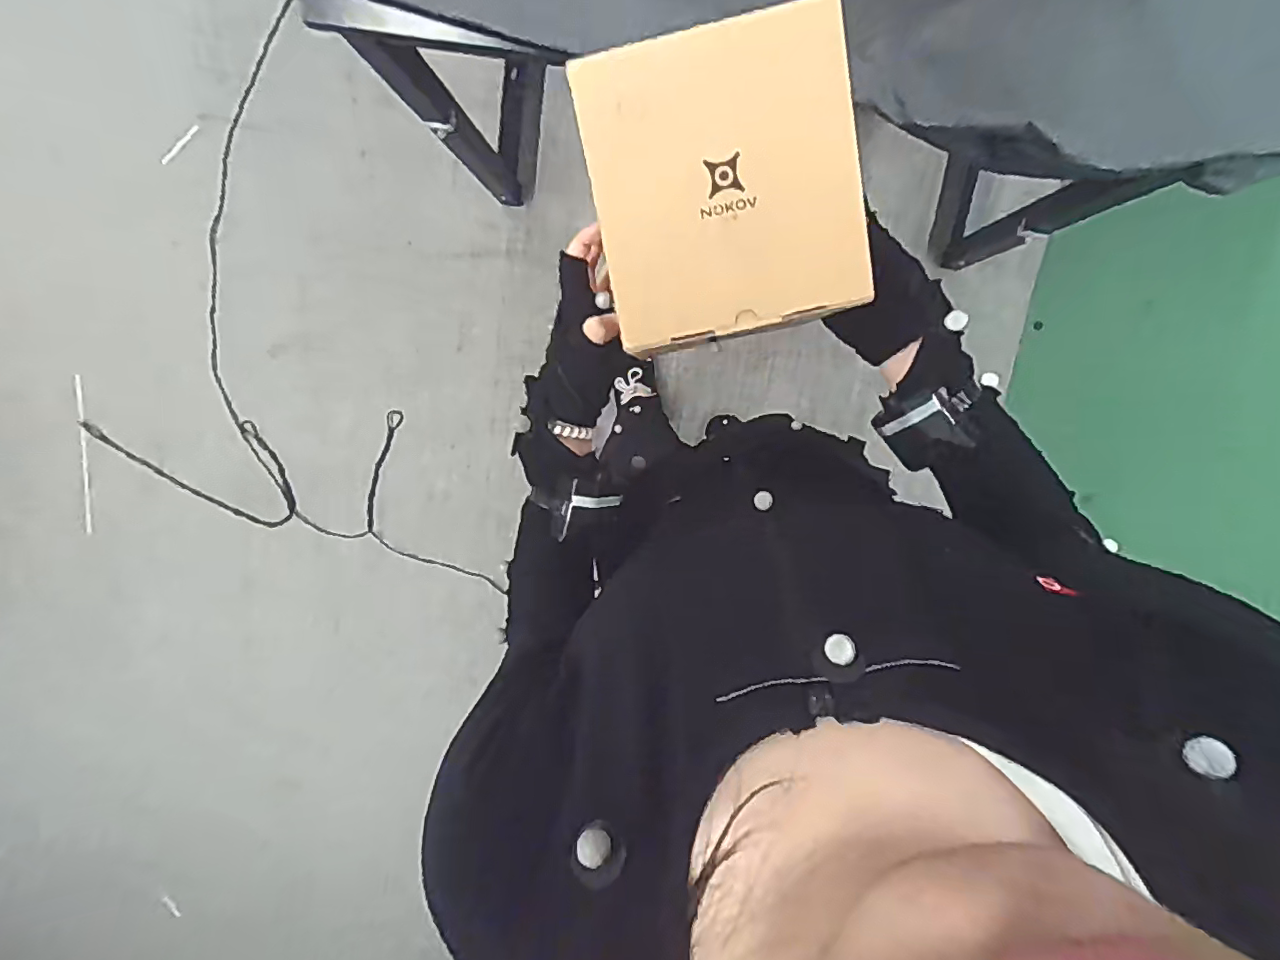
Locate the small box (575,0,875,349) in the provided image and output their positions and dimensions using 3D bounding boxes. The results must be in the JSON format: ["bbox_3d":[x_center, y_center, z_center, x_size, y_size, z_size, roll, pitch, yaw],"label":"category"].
[{"bbox_3d":[0.055,-0.203,0.411,0.168,0.176,0.179,-11,102,3],"label":"small box"}]
